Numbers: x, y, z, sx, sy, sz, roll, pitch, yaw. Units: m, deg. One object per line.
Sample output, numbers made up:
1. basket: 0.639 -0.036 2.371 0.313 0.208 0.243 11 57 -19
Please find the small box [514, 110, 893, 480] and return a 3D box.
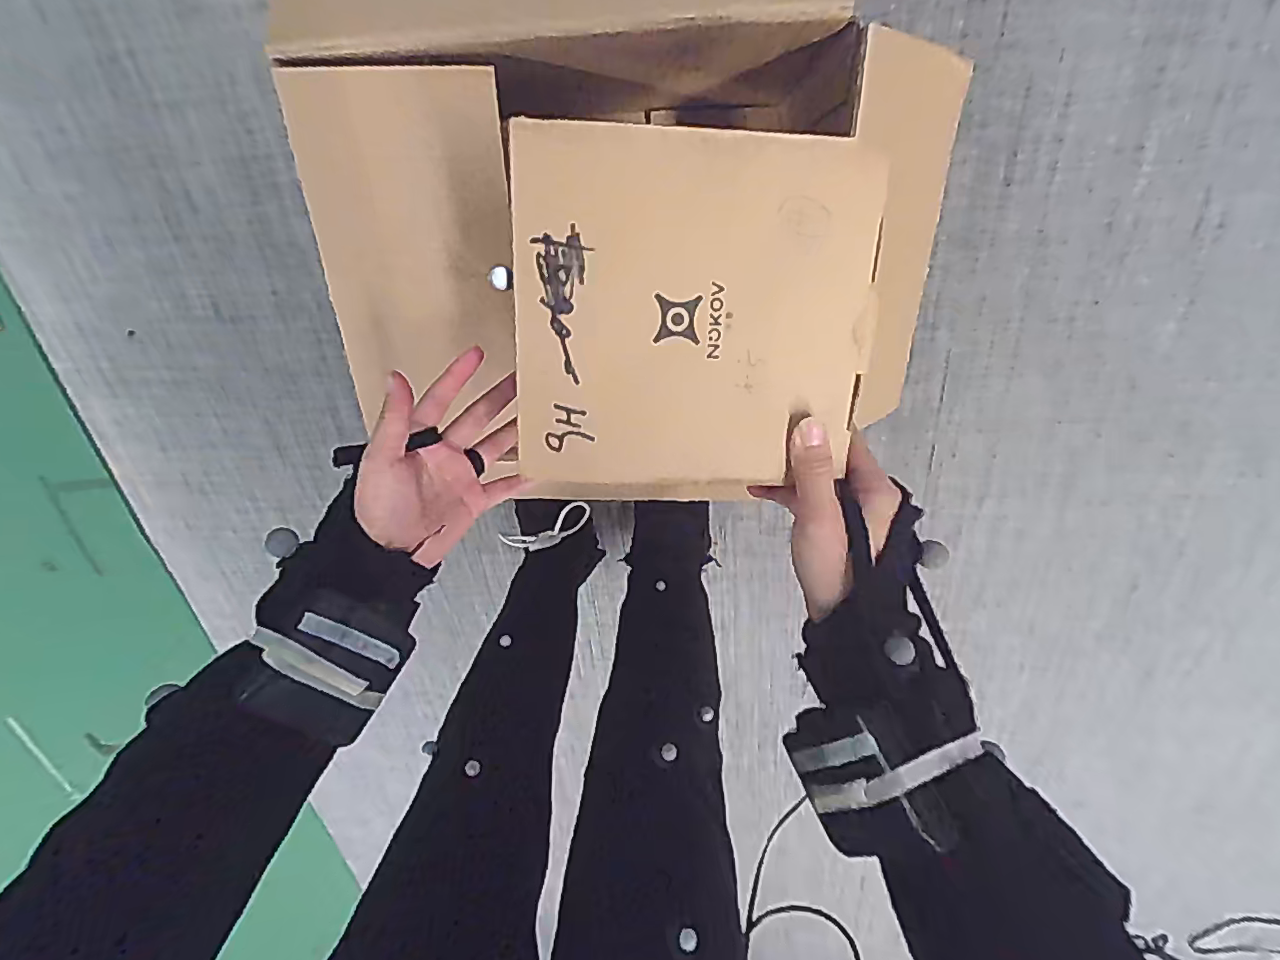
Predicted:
1. small box: 0.021 -0.103 0.340 0.179 0.176 0.168 1 107 -5
